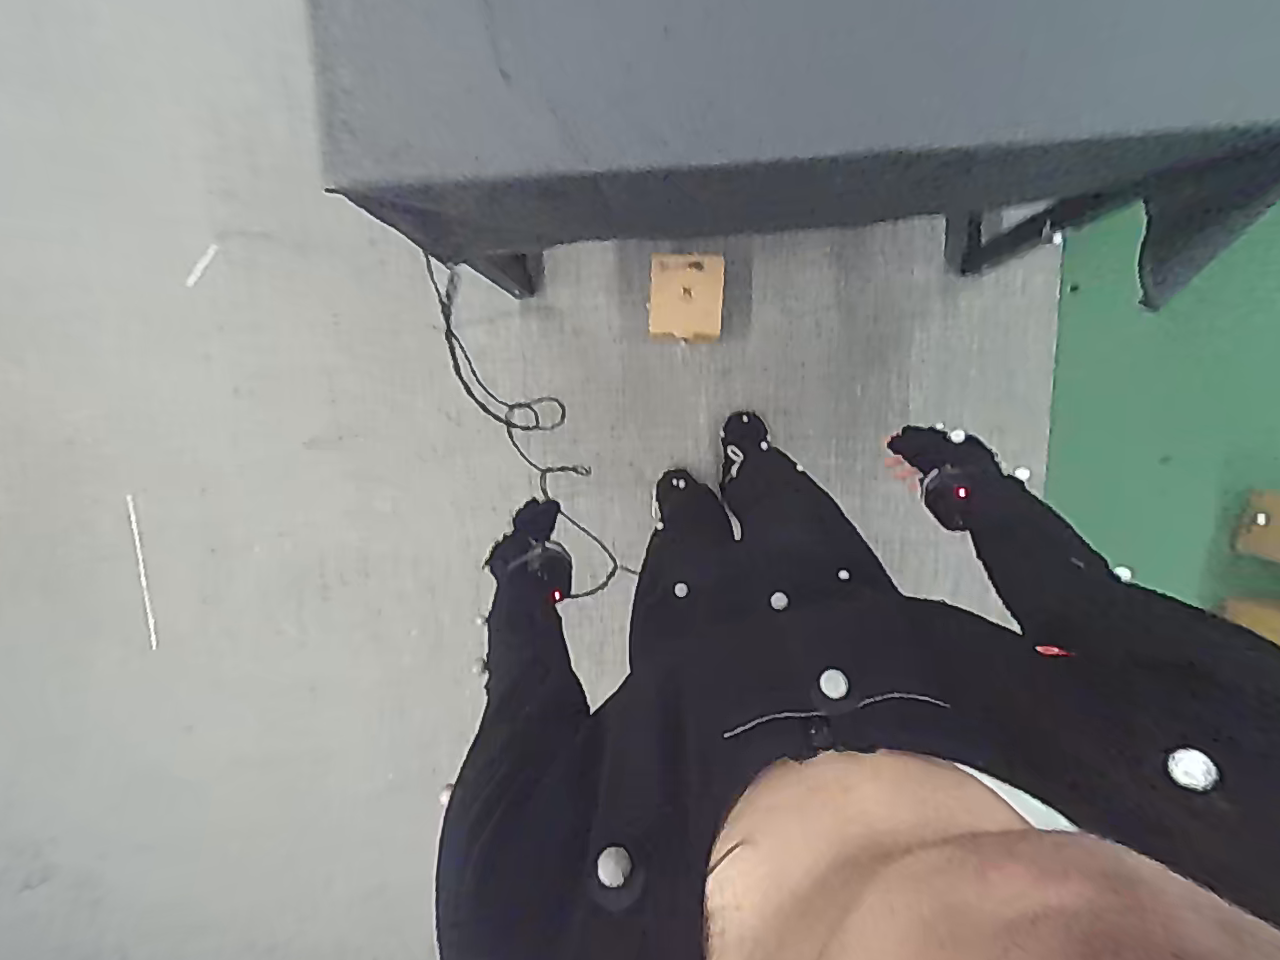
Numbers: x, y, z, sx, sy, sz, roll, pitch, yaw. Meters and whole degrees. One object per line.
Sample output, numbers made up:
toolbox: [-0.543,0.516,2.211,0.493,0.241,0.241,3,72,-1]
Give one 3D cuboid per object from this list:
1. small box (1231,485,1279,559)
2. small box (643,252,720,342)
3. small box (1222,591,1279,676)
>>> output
small box: [1.565,0.111,1.255,0.179,0.176,0.168,10,97,4]
small box: [0.098,-0.427,1.285,0.168,0.176,0.179,3,97,4]
small box: [1.555,0.368,1.286,0.179,0.176,0.168,-3,97,4]
